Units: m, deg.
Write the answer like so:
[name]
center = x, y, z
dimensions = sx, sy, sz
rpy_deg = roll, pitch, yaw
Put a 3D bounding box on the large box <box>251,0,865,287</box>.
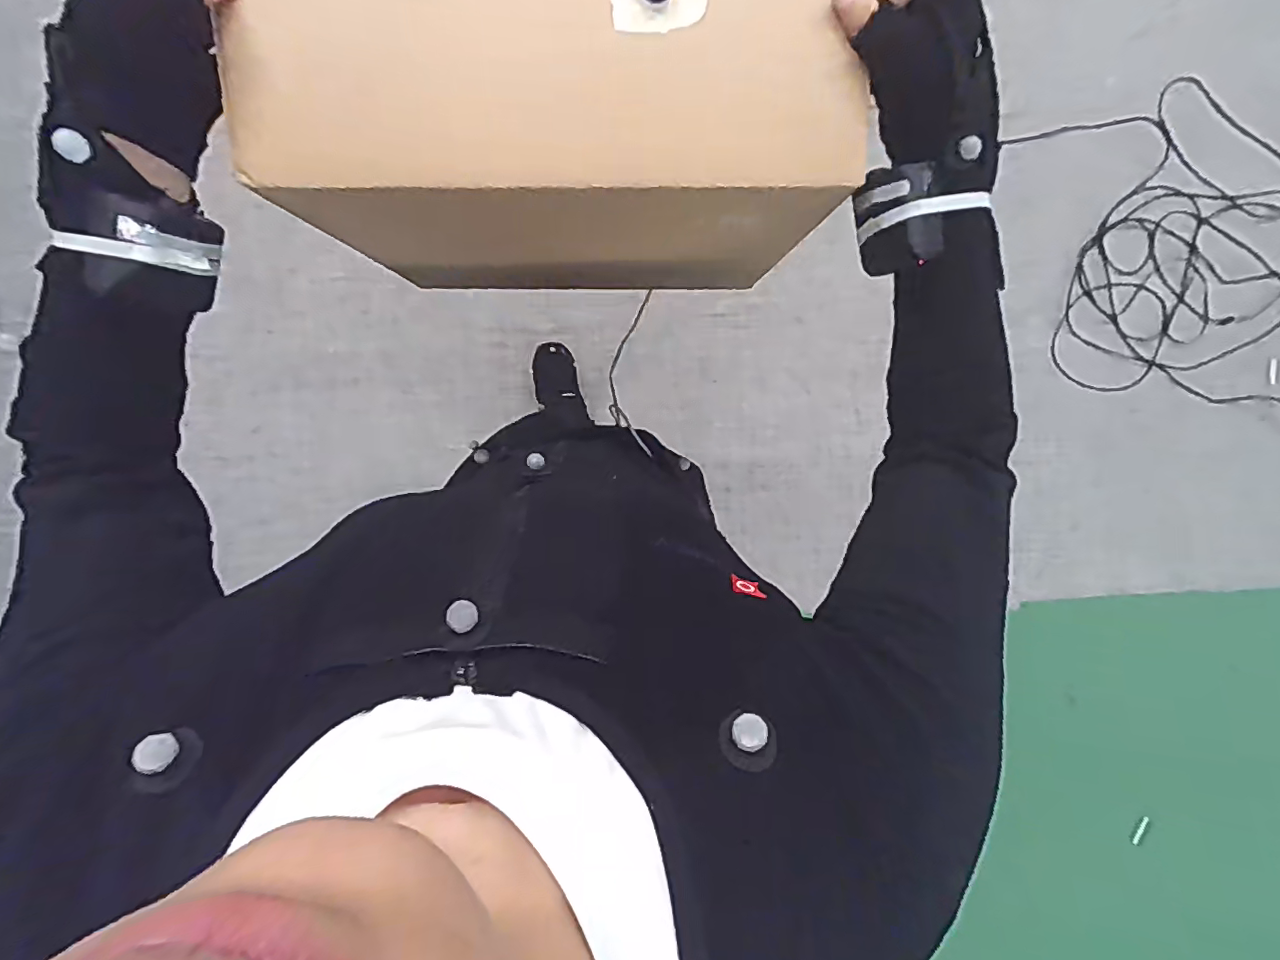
[large box]
center = -0.056, -0.372, 0.492
dimensions = 0.408, 0.320, 0.320
rpy_deg = -1, 98, -2
